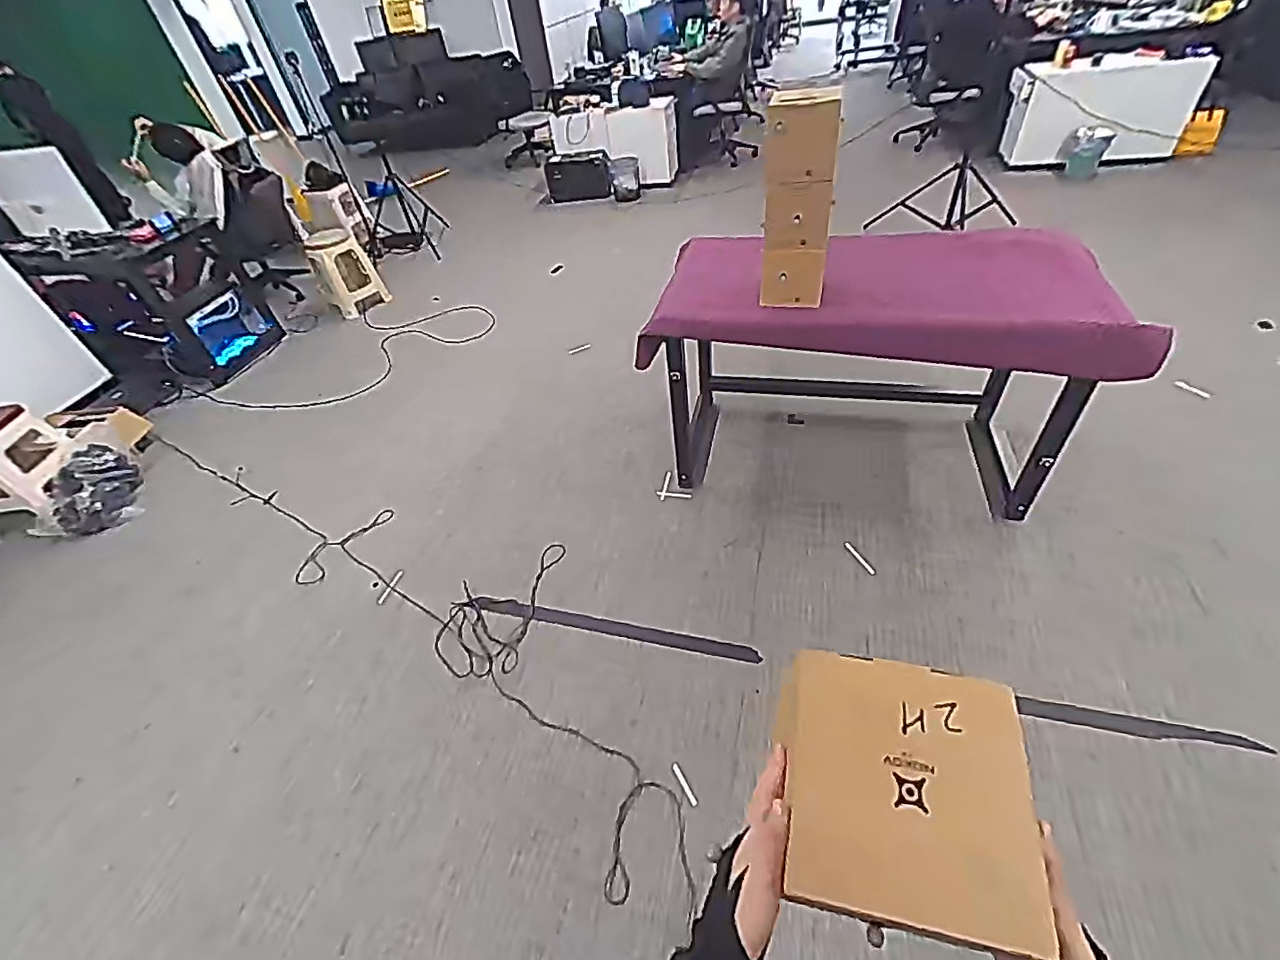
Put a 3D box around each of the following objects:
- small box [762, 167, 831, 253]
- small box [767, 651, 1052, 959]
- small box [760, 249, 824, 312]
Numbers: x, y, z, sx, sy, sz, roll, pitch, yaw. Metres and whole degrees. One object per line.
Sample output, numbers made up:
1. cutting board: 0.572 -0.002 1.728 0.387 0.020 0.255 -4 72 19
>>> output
1. small box: 0.424 -0.727 1.466 0.168 0.176 0.179 5 45 14
2. small box: 0.206 0.275 0.466 0.168 0.176 0.179 8 53 11
3. small box: 0.442 -0.604 1.574 0.168 0.176 0.179 7 45 16
